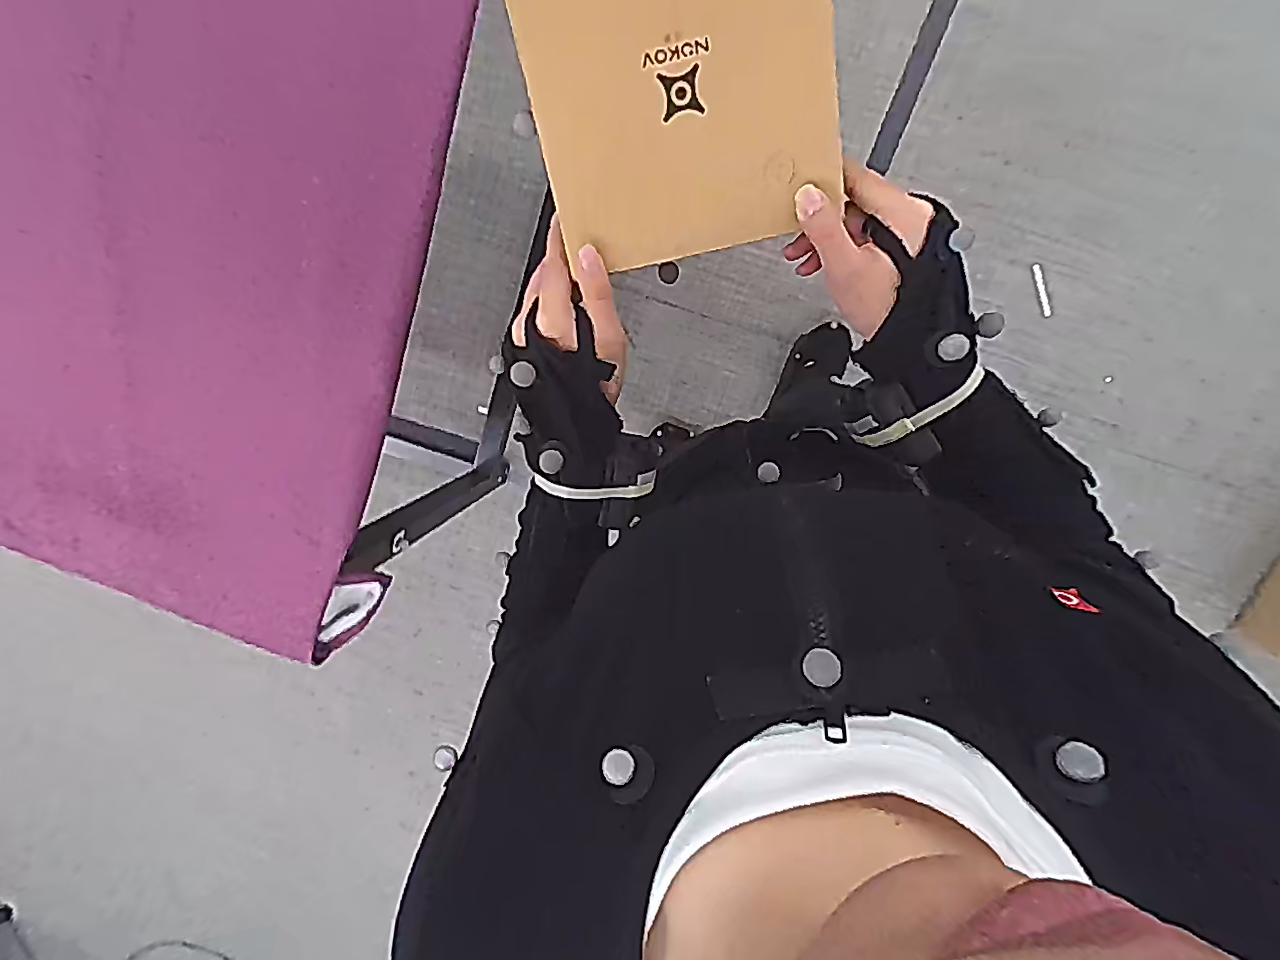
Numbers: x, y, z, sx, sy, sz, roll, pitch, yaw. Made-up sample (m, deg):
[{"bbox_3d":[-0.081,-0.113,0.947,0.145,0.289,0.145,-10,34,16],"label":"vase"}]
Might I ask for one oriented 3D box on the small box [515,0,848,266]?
[{"bbox_3d":[0.027,-0.251,0.362,0.168,0.176,0.179,-11,110,6],"label":"small box"}]
